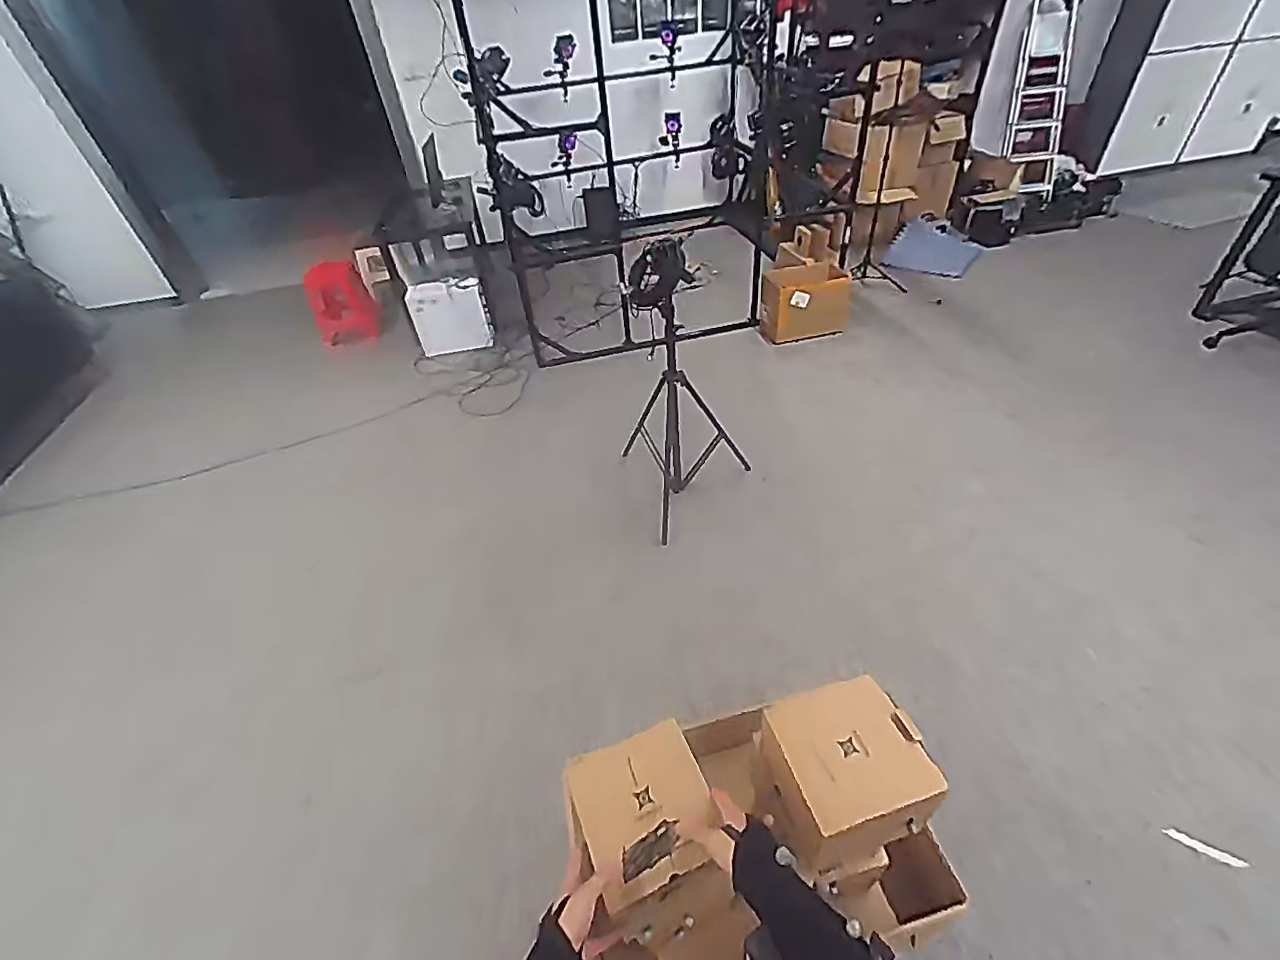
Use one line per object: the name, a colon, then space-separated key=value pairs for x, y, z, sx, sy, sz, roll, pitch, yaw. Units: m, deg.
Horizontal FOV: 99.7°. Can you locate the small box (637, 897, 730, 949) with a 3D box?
small box: x=0.050 y=0.689 z=0.968 sx=0.168 sy=0.176 sz=0.179 roll=-19 pitch=43 yaw=-12

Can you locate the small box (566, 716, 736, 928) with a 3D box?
small box: x=0.016 y=0.464 z=0.729 sx=0.168 sy=0.176 sz=0.179 roll=-20 pitch=43 yaw=-14

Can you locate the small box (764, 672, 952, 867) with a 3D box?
small box: x=0.286 y=0.404 z=0.757 sx=0.179 sy=0.176 sz=0.168 roll=-15 pitch=42 yaw=-7

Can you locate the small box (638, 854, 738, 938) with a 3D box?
small box: x=0.039 y=0.573 z=0.852 sx=0.168 sy=0.176 sz=0.179 roll=-18 pitch=43 yaw=-11
